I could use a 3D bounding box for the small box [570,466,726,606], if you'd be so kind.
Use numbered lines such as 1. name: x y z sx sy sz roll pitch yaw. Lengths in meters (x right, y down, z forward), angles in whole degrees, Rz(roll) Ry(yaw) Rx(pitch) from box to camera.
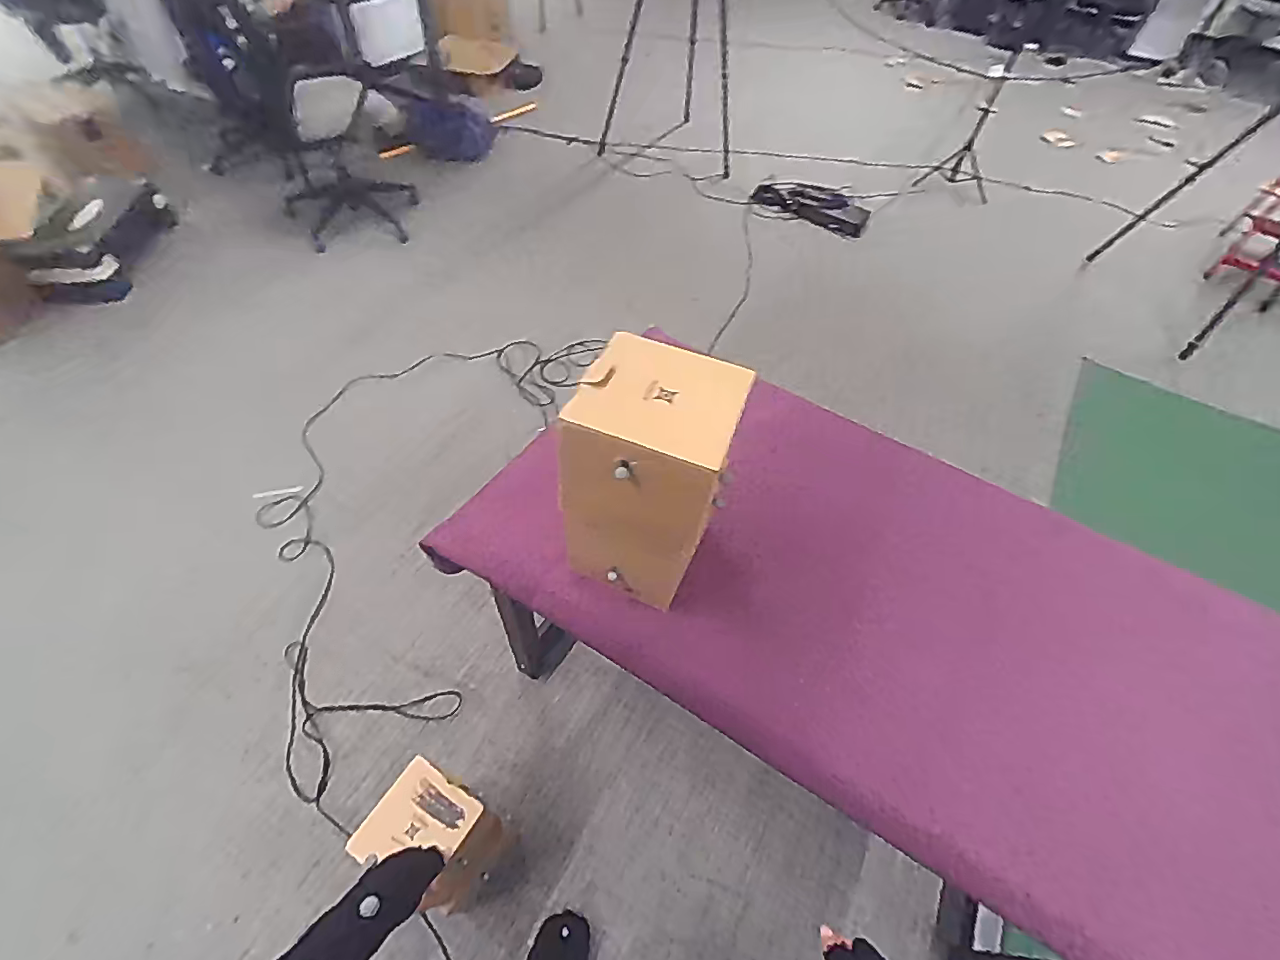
1. small box: 0.004 0.049 0.789 0.168 0.176 0.179 24 53 12

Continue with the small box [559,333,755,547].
1. small box: 0.018 -0.042 0.654 0.179 0.176 0.168 20 53 9
